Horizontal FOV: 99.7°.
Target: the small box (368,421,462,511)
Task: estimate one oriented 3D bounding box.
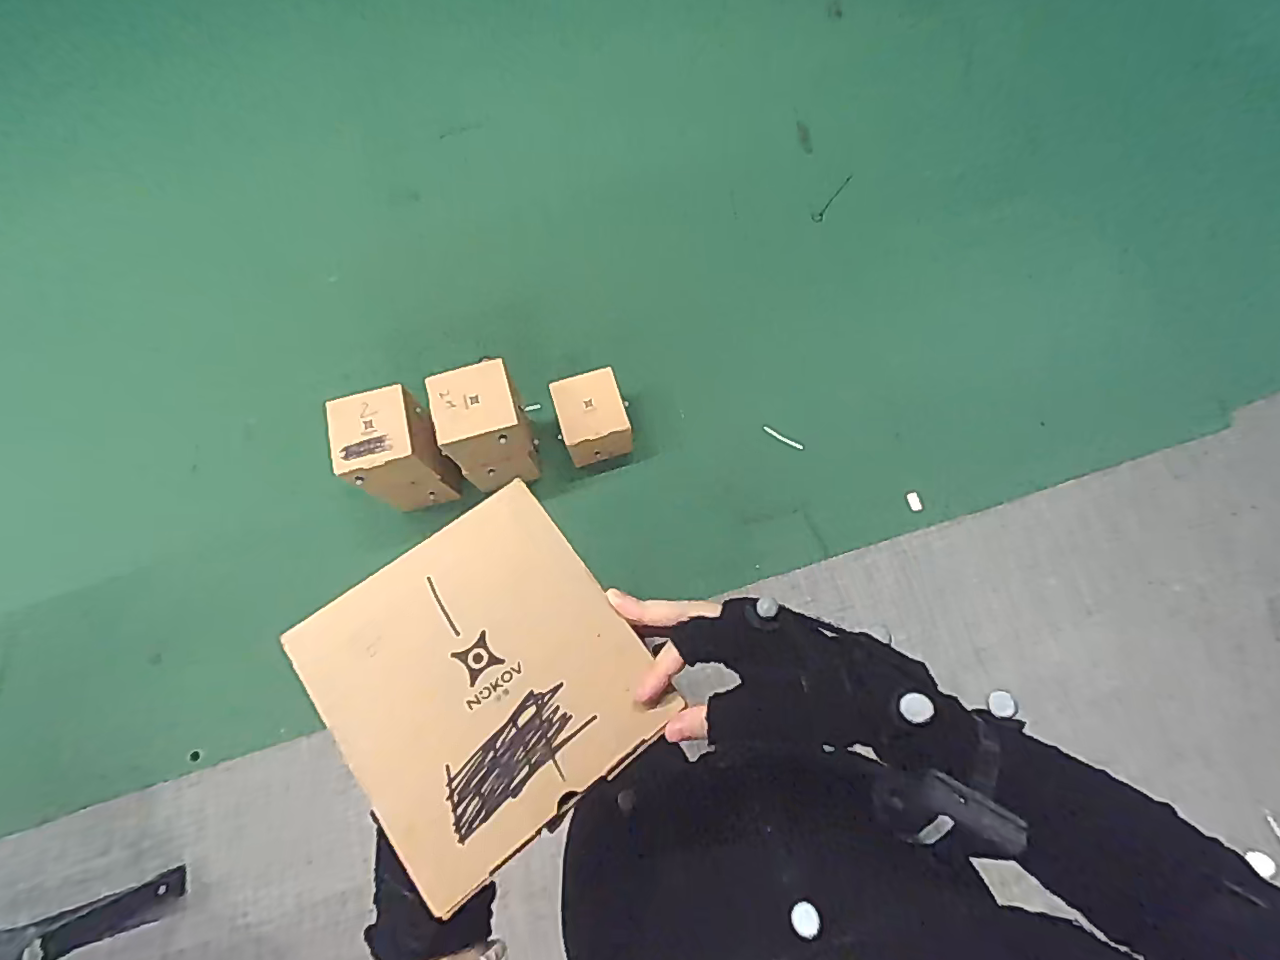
[{"bbox_3d":[-0.571,-0.026,1.390,0.168,0.176,0.179,-13,74,-2],"label":"small box"}]

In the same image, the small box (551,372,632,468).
[{"bbox_3d":[-0.124,-0.153,1.420,0.168,0.176,0.179,-17,74,-4],"label":"small box"}]
